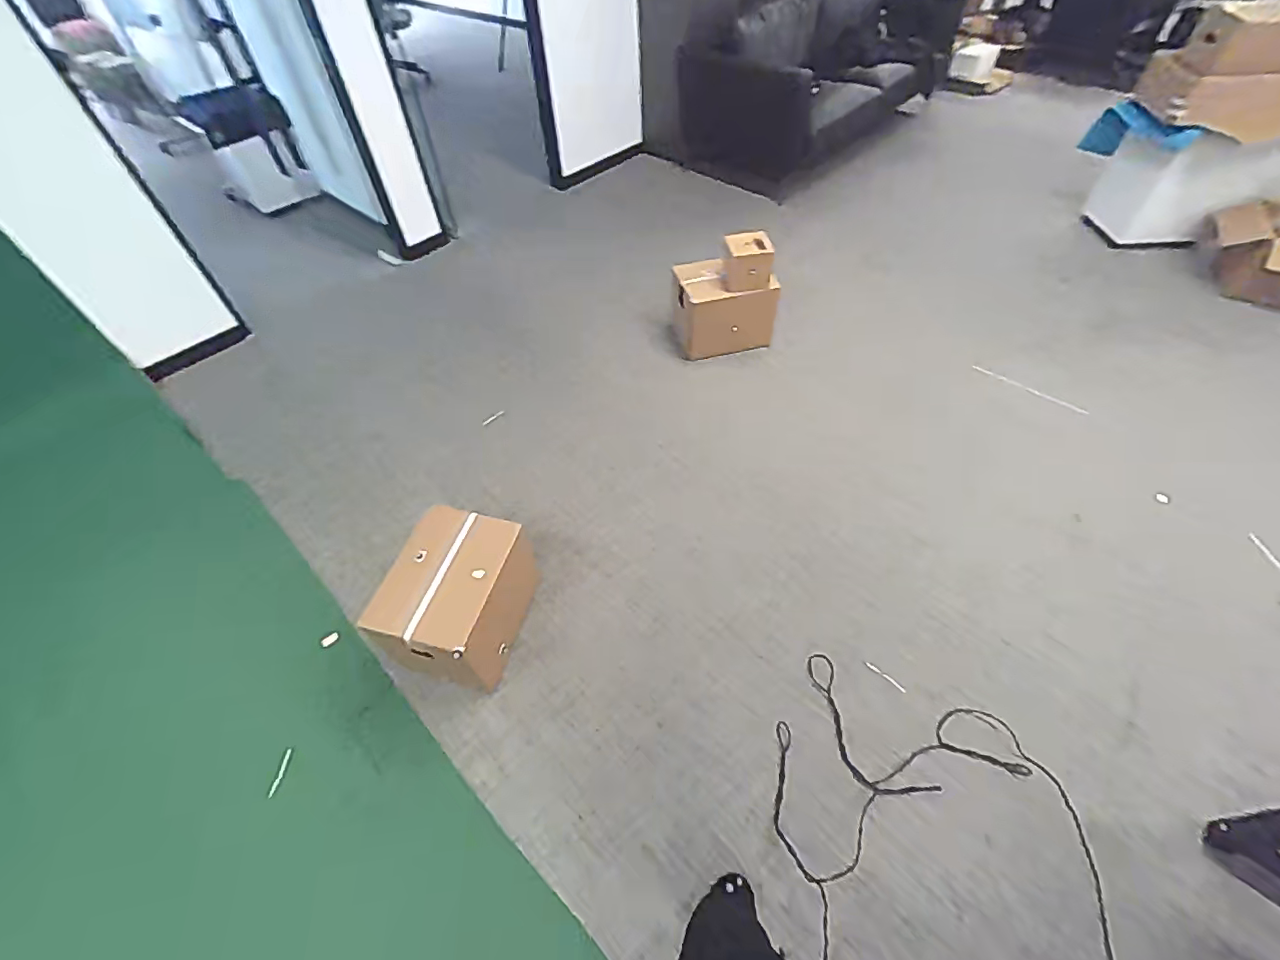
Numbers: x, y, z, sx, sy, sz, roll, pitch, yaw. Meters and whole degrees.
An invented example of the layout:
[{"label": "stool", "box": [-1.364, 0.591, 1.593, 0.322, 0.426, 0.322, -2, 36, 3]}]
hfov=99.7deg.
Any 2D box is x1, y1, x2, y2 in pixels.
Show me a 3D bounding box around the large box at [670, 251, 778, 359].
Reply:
[{"label": "large box", "box": [0.372, -0.806, 2.493, 0.408, 0.320, 0.320, -14, 51, -7]}]
